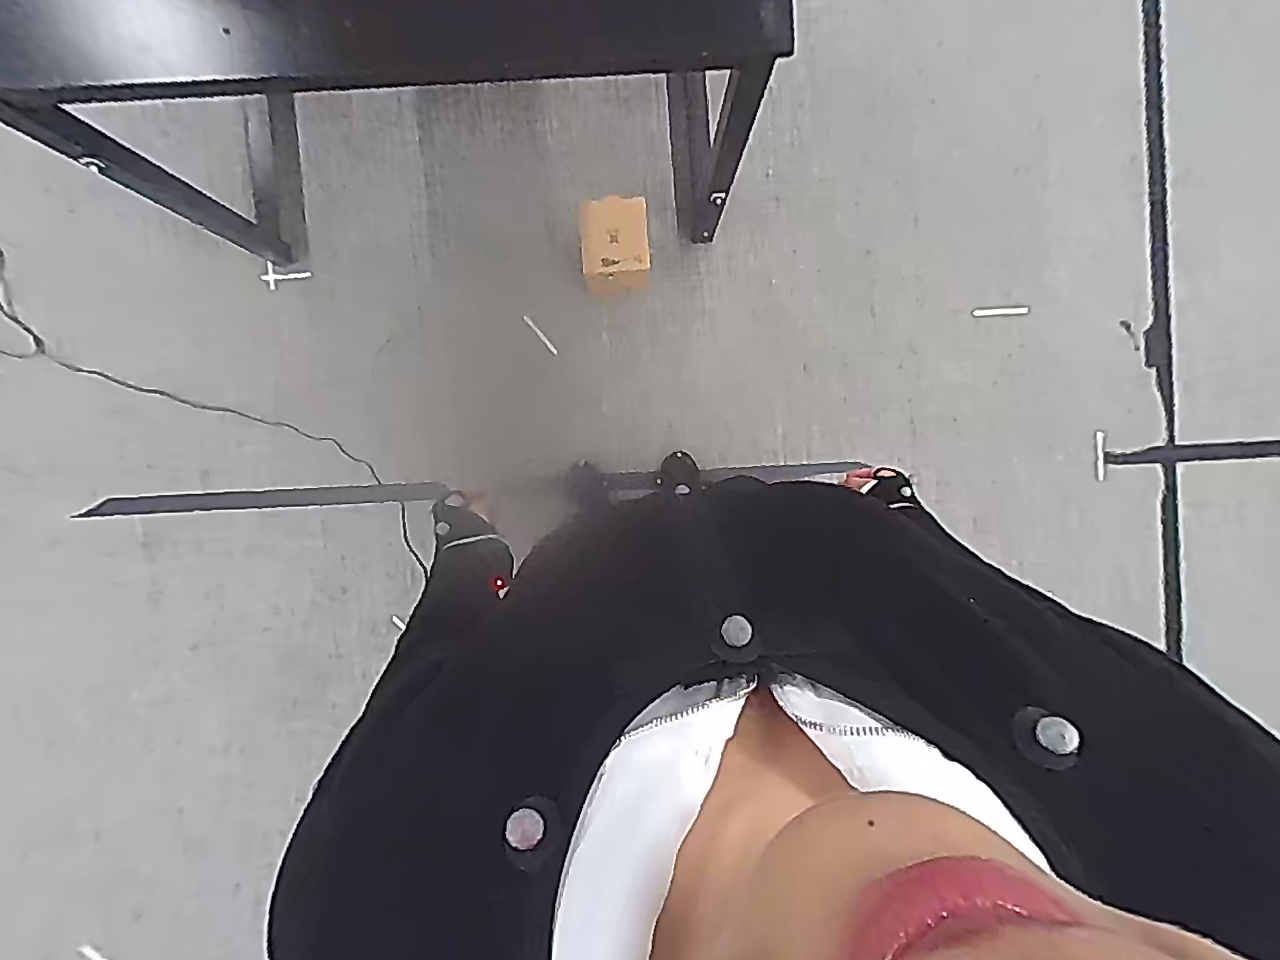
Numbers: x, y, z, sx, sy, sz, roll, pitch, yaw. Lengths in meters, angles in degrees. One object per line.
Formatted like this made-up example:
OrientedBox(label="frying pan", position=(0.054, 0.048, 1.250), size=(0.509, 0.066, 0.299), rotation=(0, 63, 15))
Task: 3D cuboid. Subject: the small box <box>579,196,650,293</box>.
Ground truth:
OrientedBox(label="small box", position=(-0.064, -0.598, 1.389), size=(0.168, 0.176, 0.179), rotation=(-4, 92, 0))
